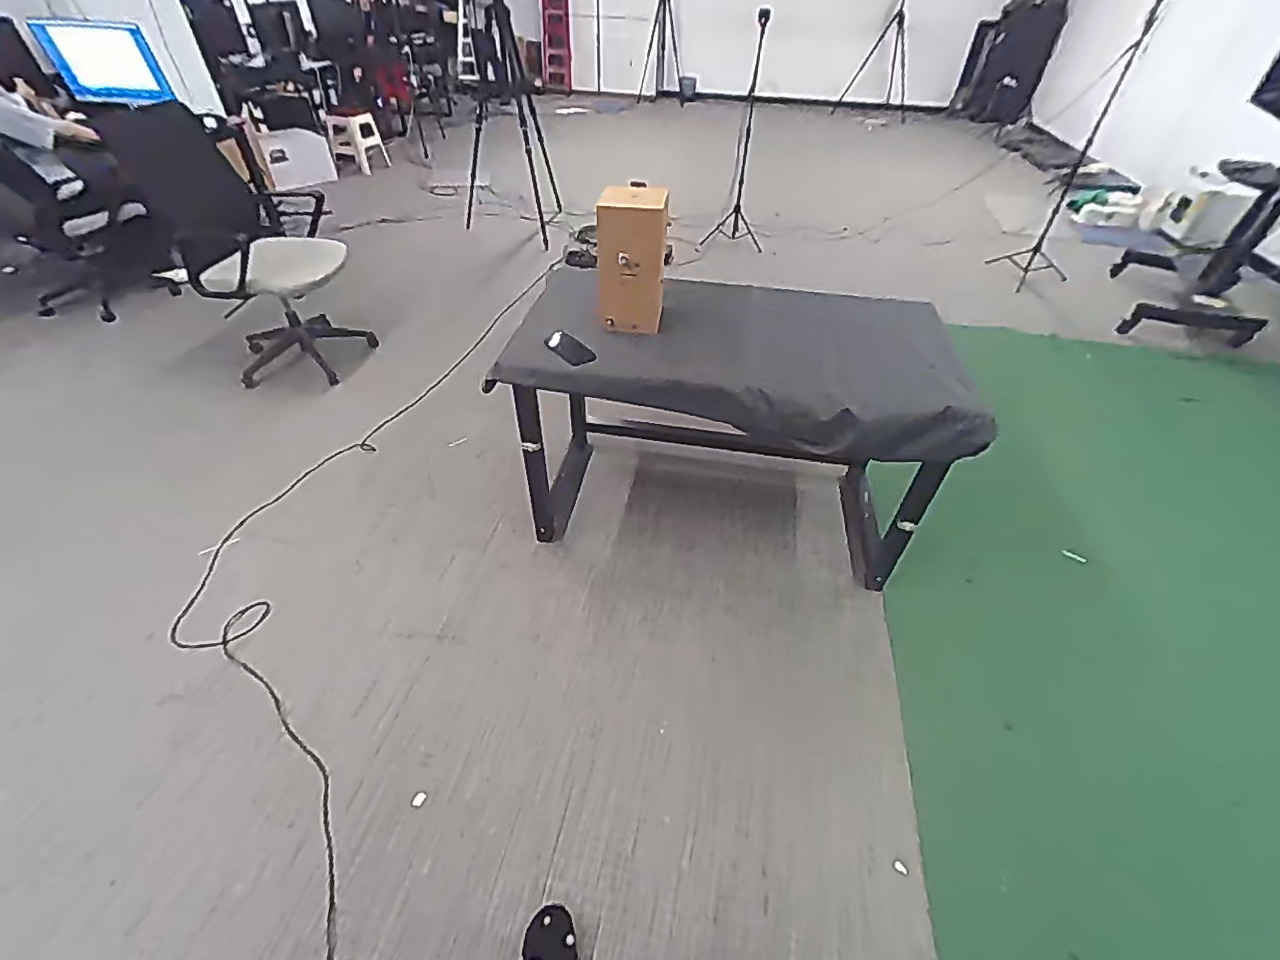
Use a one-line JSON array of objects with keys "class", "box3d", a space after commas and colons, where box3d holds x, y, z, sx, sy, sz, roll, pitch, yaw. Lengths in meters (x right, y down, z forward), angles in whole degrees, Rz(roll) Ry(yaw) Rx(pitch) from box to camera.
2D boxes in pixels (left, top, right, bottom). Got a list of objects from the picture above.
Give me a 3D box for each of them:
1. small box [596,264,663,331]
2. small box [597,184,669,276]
[{"class": "small box", "box3d": [-0.025, -0.535, 1.522, 0.168, 0.176, 0.179, 6, 43, 3]}, {"class": "small box", "box3d": [-0.017, -0.652, 1.411, 0.168, 0.176, 0.179, 5, 45, 3]}]
